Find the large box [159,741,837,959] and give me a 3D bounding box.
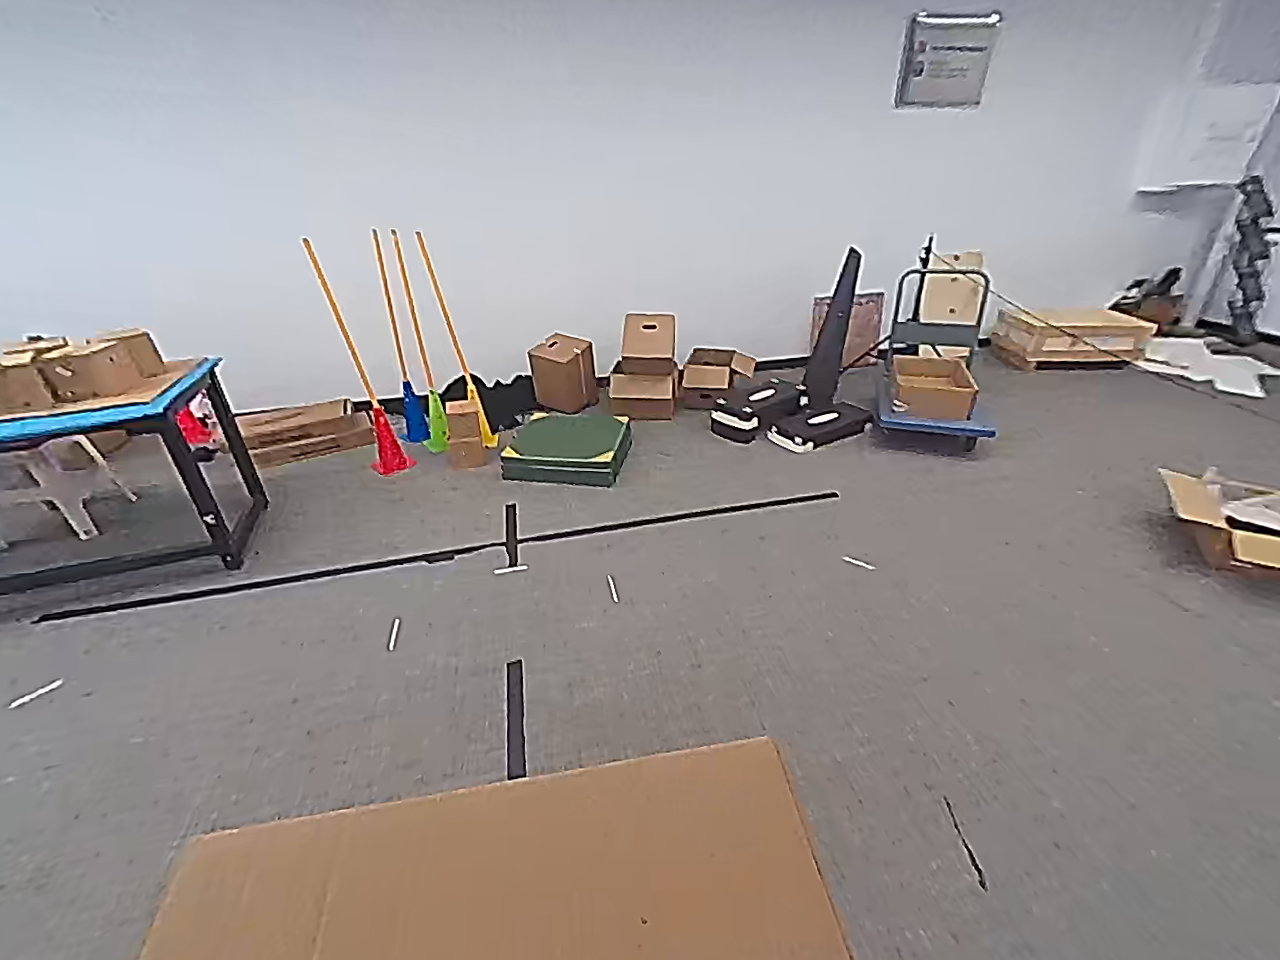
[{"bbox_3d":[-0.072,0.433,0.370,0.408,0.320,0.320,-7,38,-7],"label":"large box"}]
